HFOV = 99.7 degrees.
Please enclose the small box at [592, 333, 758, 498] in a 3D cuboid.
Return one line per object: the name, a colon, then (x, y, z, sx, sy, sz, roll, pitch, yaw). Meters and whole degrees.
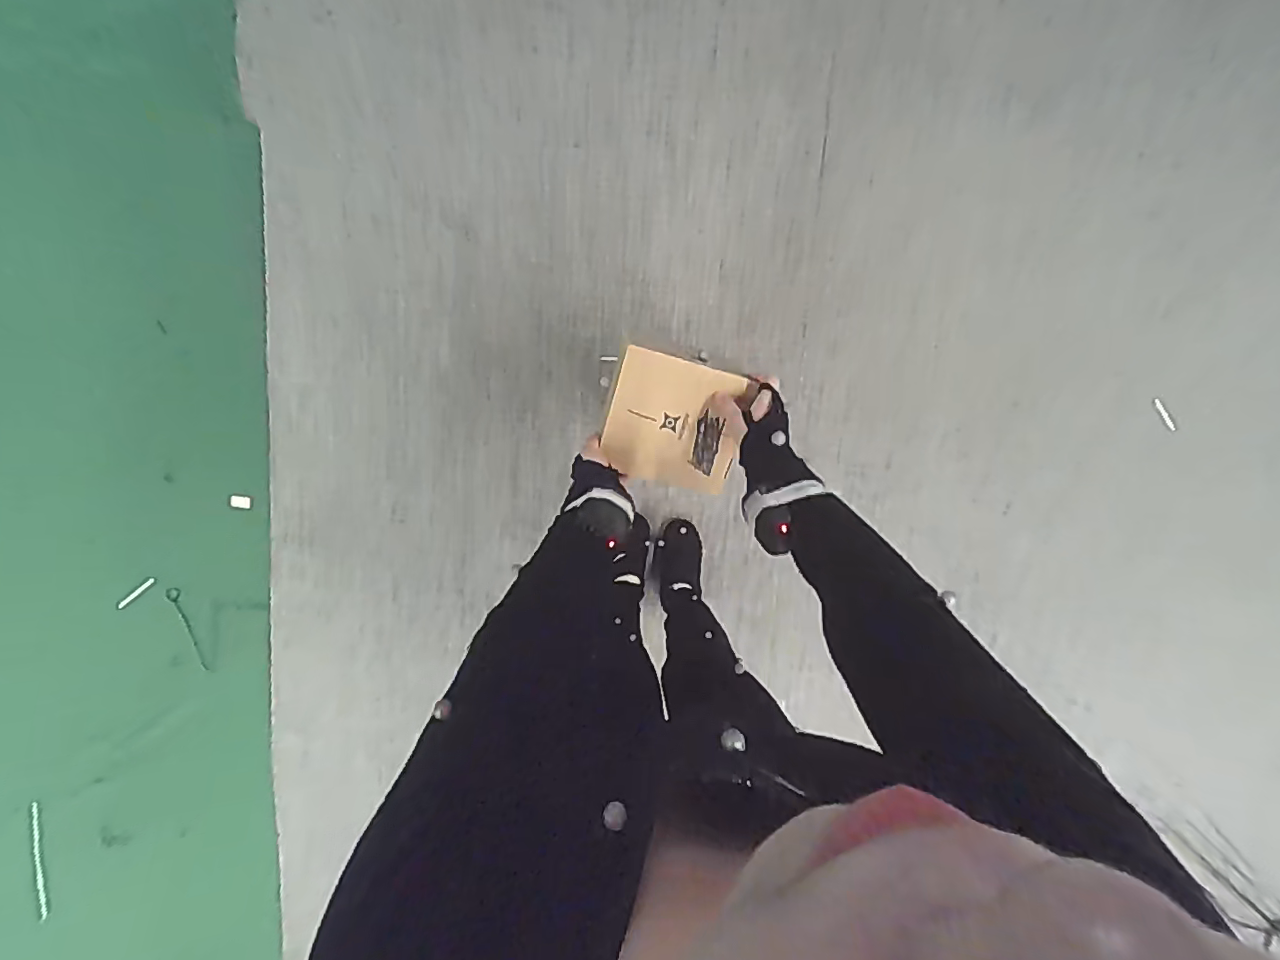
small box: (0.041, -0.099, 0.764, 0.179, 0.176, 0.168, 15, 112, -7)
